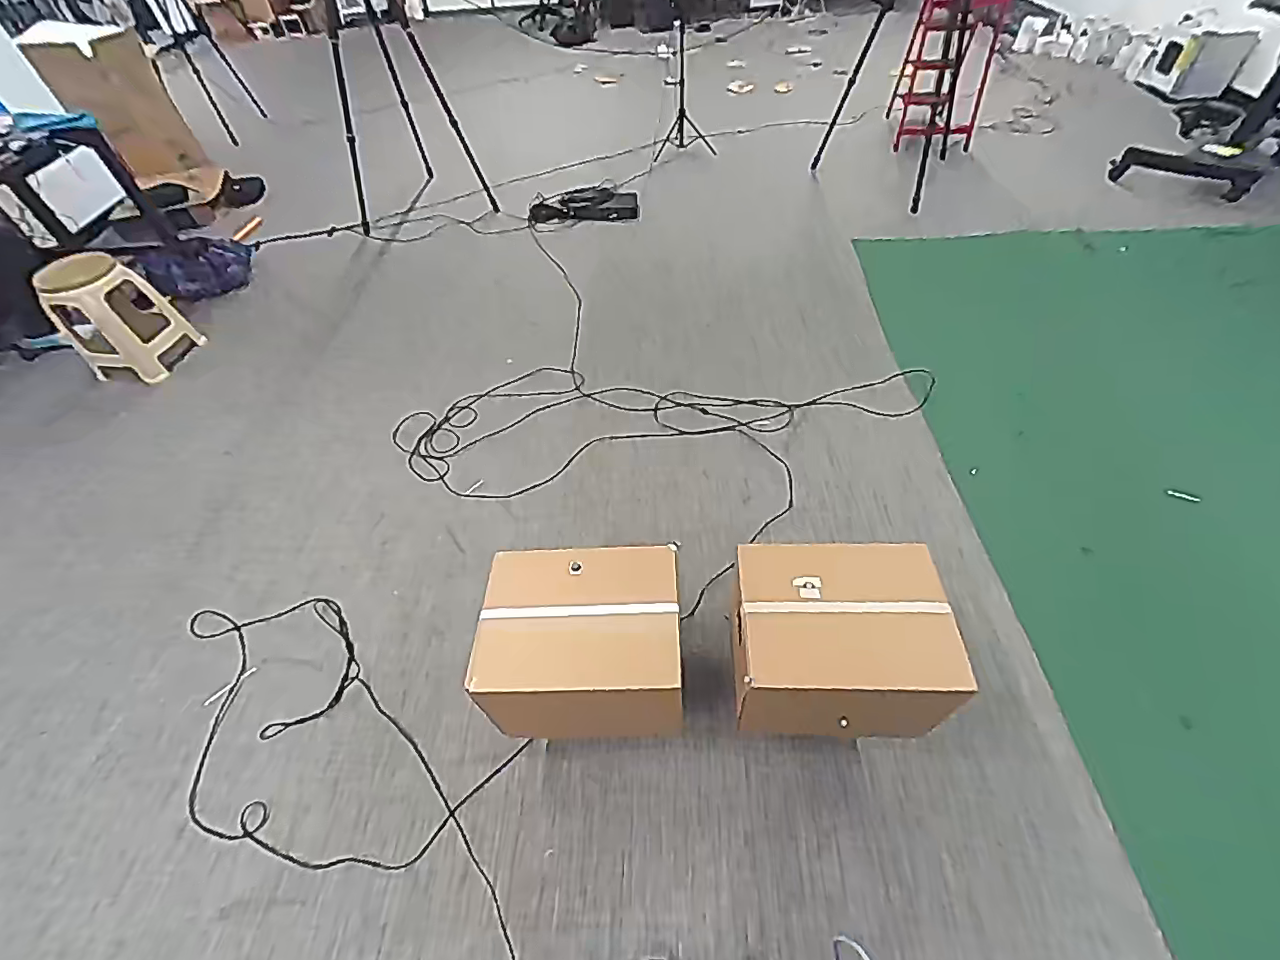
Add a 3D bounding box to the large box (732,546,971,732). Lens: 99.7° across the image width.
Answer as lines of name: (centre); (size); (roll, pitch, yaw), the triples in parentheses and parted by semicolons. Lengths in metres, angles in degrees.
large box: (0.422, 0.359, 1.199); (0.408, 0.320, 0.320); (-1, 50, 5)
